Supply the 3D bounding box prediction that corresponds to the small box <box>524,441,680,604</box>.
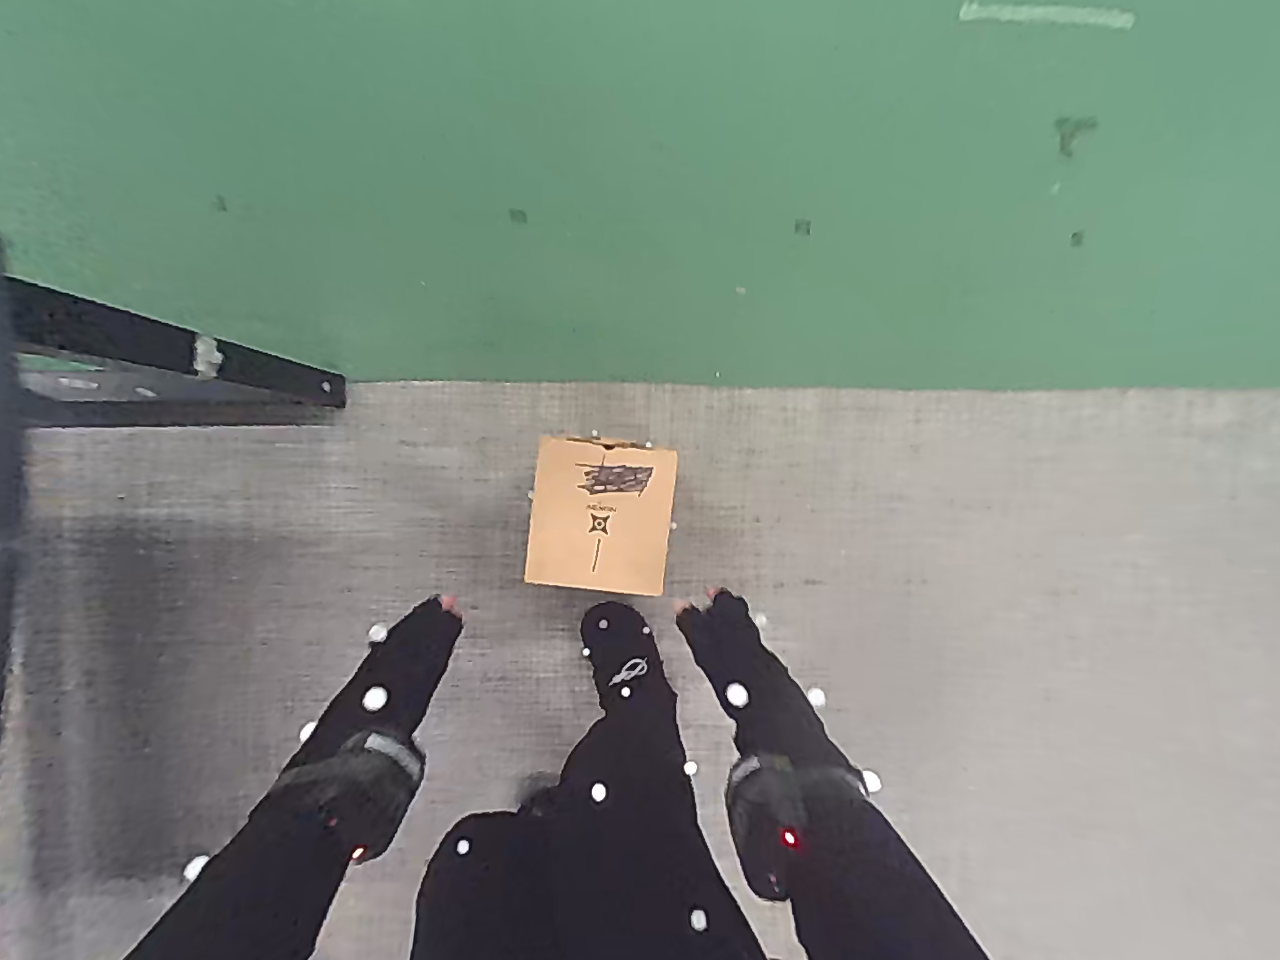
[{"bbox_3d":[-0.046,0.049,0.712,0.168,0.176,0.179,7,91,-1],"label":"small box"}]
